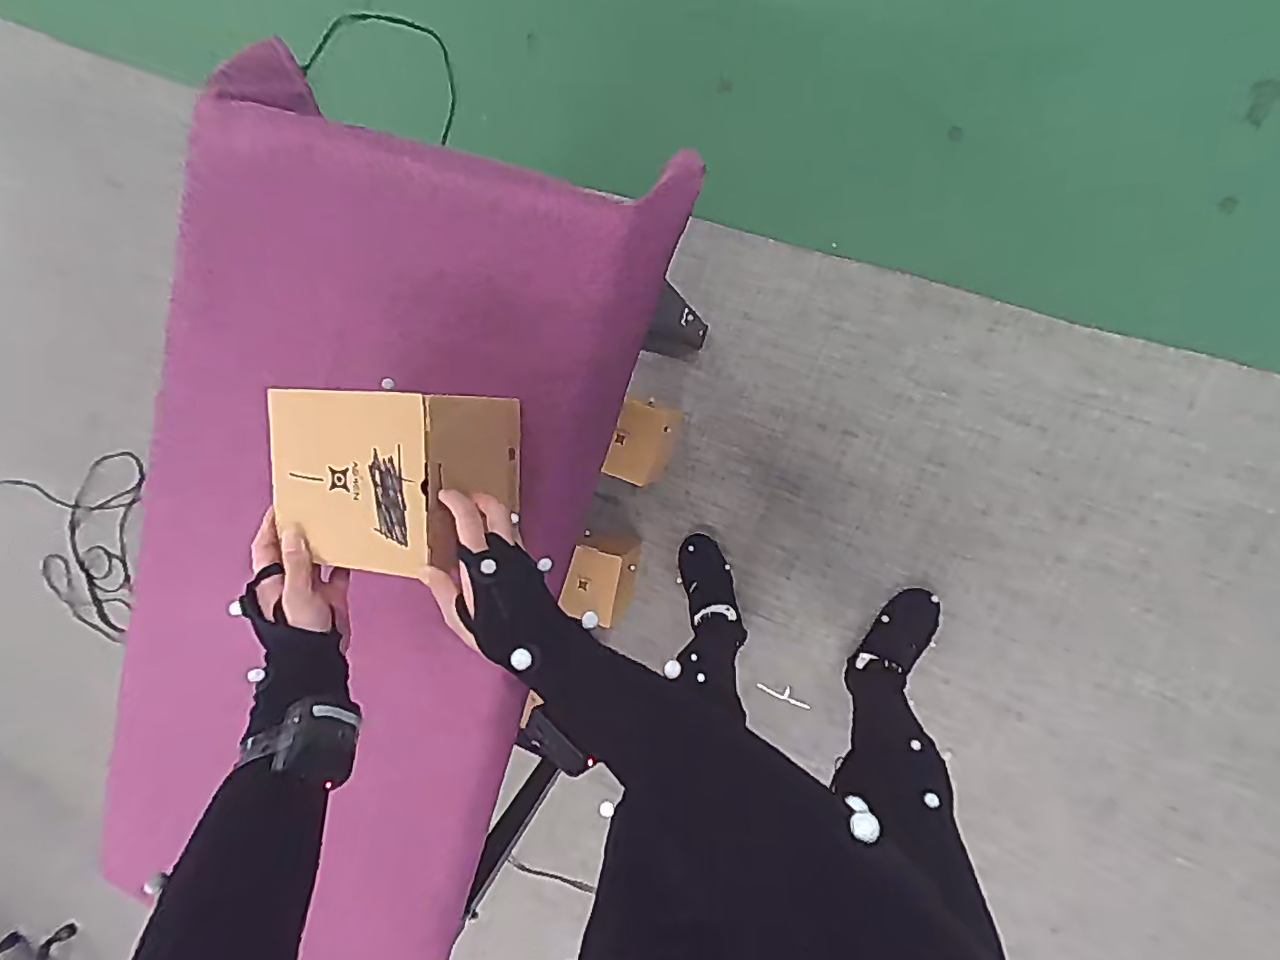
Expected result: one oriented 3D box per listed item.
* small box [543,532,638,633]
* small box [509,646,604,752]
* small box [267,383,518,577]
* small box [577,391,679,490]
[{"bbox_3d":[-0.111,0.237,1.304,0.168,0.176,0.179,14,99,14],"label":"small box"},{"bbox_3d":[-0.202,0.537,1.355,0.179,0.176,0.168,12,98,13],"label":"small box"},{"bbox_3d":[-0.240,-0.010,0.559,0.179,0.176,0.168,5,97,16],"label":"small box"},{"bbox_3d":[-0.021,-0.092,1.250,0.168,0.176,0.179,21,99,12],"label":"small box"}]
